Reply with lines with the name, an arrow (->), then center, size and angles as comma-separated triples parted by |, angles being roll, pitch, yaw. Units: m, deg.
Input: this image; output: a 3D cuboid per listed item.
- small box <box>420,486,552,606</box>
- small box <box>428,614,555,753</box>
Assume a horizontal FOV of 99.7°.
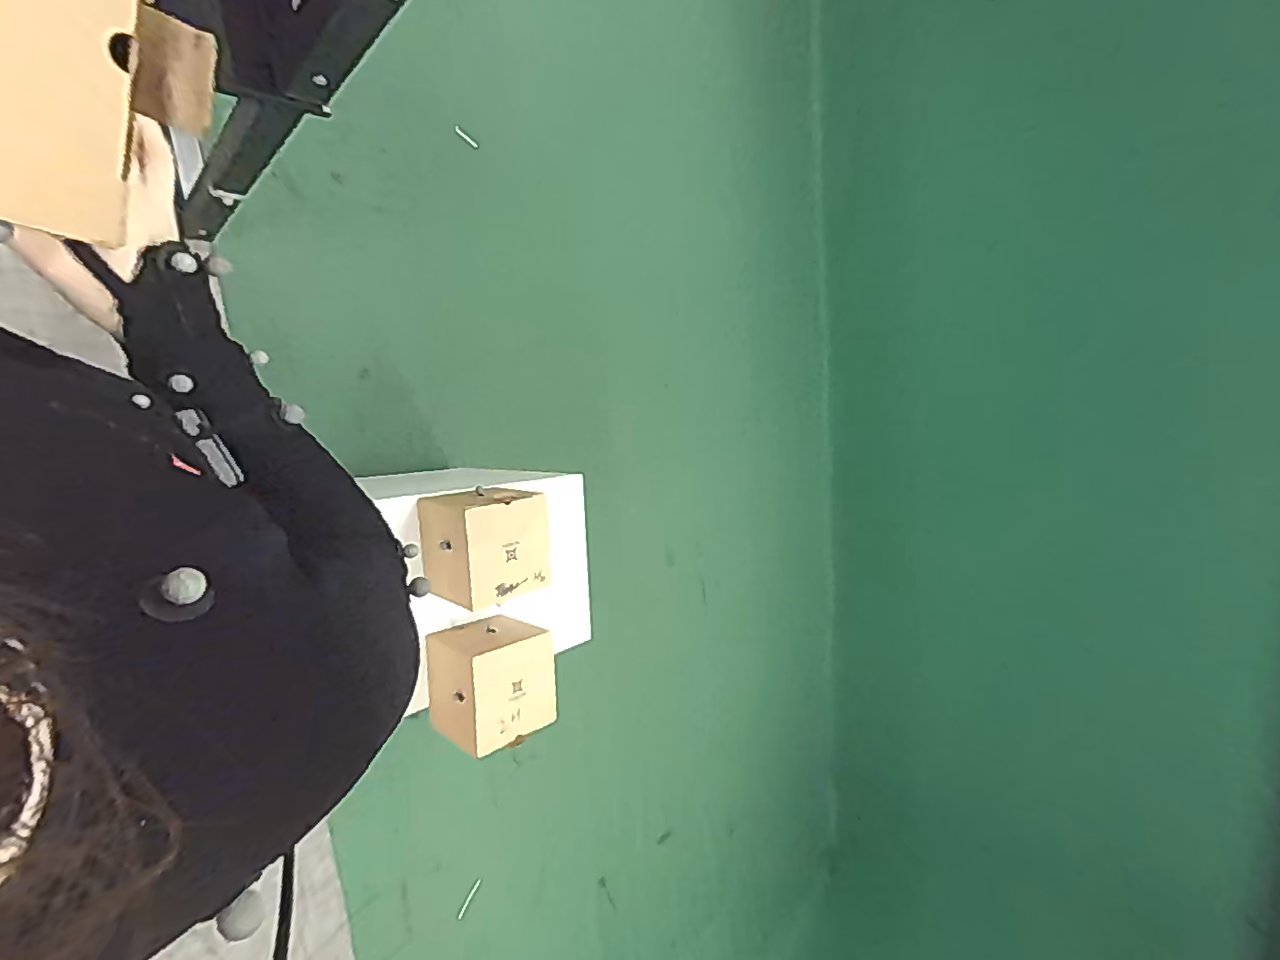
small box -> -0.278, 0.106, 0.969 | 0.168, 0.176, 0.179 | -10, 101, -46
small box -> -0.273, 0.356, 0.990 | 0.168, 0.176, 0.179 | -6, 98, -46
